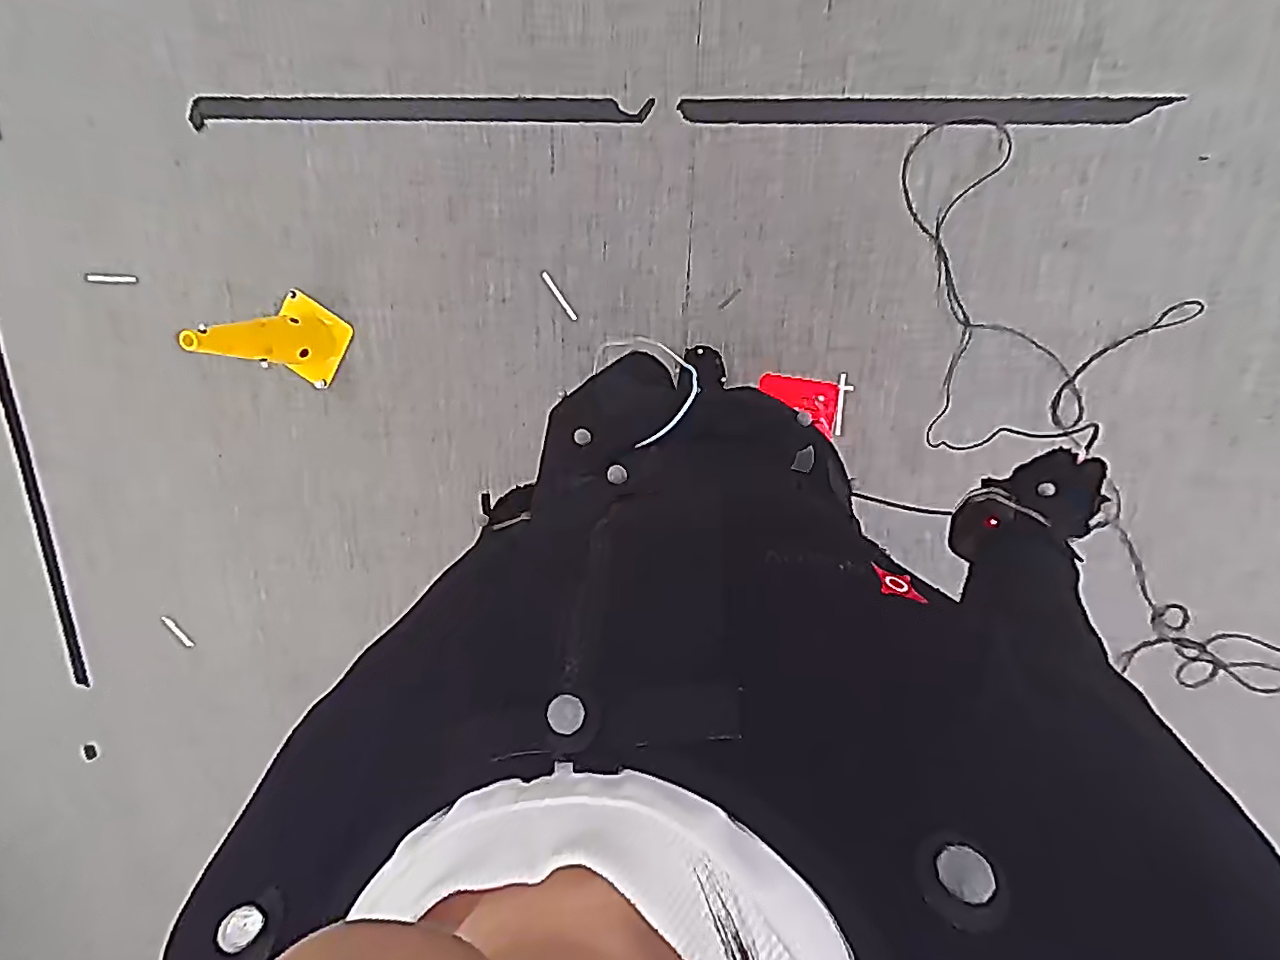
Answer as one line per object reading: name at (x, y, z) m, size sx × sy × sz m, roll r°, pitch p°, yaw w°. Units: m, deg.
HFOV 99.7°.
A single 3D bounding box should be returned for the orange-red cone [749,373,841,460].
orange-red cone at (0.361, -0.118, 1.184) m, size 0.199 × 0.360 × 0.198 m, roll 11°, pitch 104°, yaw 6°
